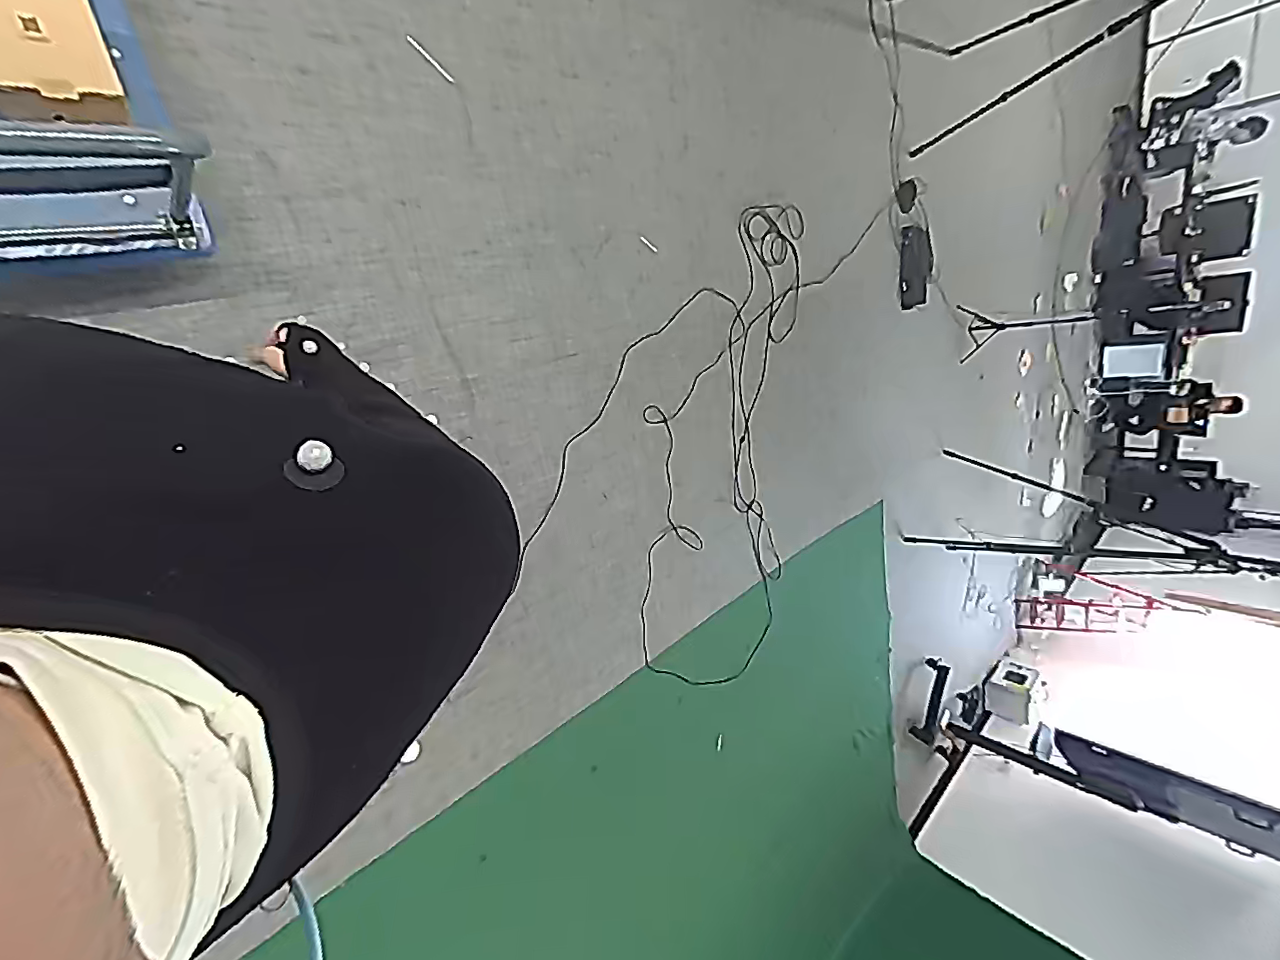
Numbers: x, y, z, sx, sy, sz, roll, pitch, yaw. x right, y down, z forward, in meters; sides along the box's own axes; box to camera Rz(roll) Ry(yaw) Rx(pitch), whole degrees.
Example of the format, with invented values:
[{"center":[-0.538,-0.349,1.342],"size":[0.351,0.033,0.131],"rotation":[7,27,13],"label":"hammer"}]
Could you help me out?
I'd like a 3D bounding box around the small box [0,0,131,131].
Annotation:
[{"center":[-0.988,-0.712,0.895],"size":[0.168,0.176,0.179],"rotation":[-24,112,-35],"label":"small box"}]
